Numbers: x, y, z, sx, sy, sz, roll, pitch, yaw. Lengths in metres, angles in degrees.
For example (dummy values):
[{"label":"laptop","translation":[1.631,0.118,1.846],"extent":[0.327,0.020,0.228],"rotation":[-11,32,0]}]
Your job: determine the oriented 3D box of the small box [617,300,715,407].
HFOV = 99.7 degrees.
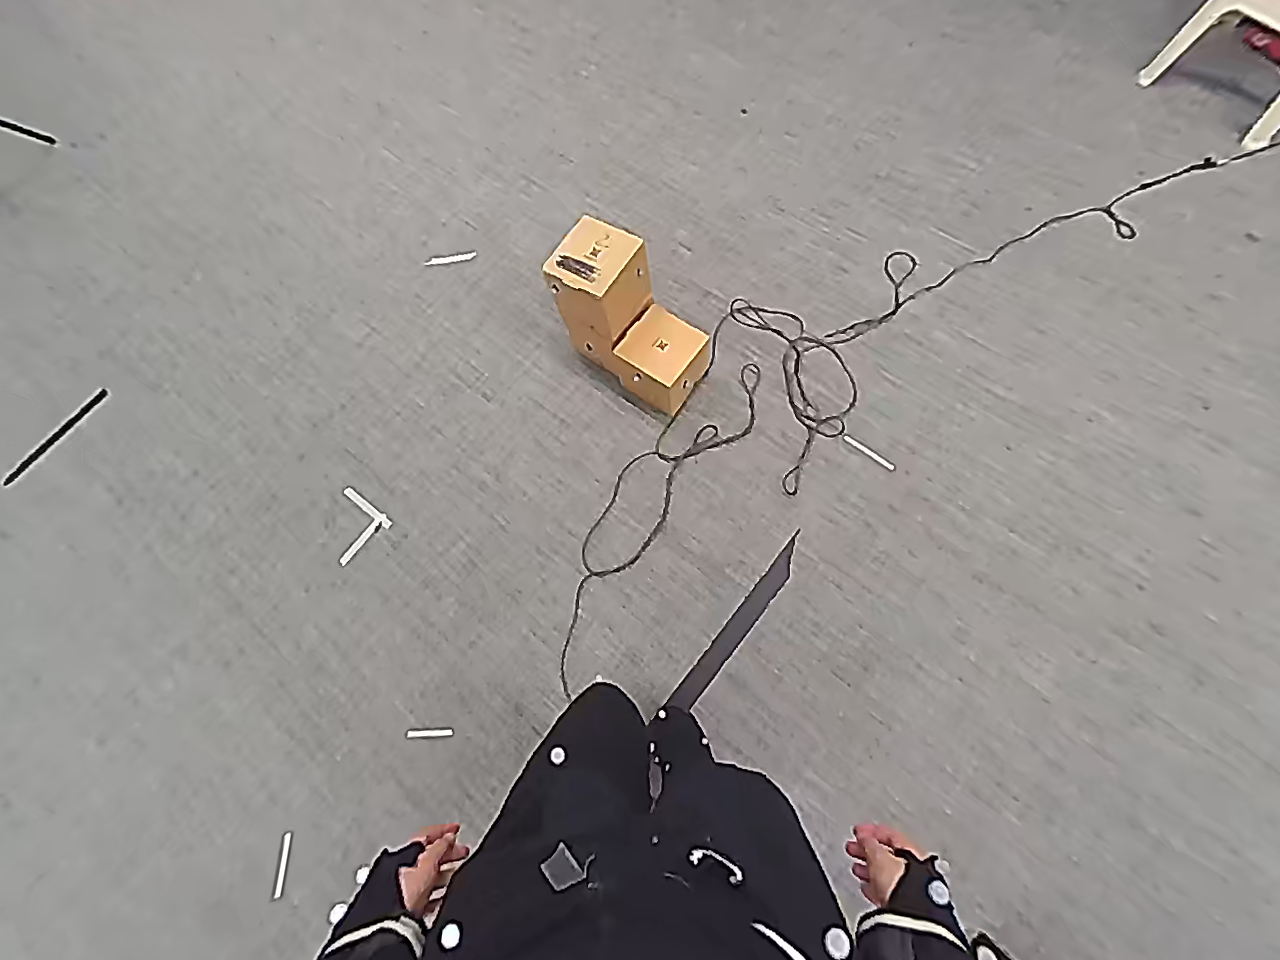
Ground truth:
[{"label":"small box","translation":[0.063,-0.300,1.291],"extent":[0.179,0.176,0.168],"rotation":[-28,84,7]}]
